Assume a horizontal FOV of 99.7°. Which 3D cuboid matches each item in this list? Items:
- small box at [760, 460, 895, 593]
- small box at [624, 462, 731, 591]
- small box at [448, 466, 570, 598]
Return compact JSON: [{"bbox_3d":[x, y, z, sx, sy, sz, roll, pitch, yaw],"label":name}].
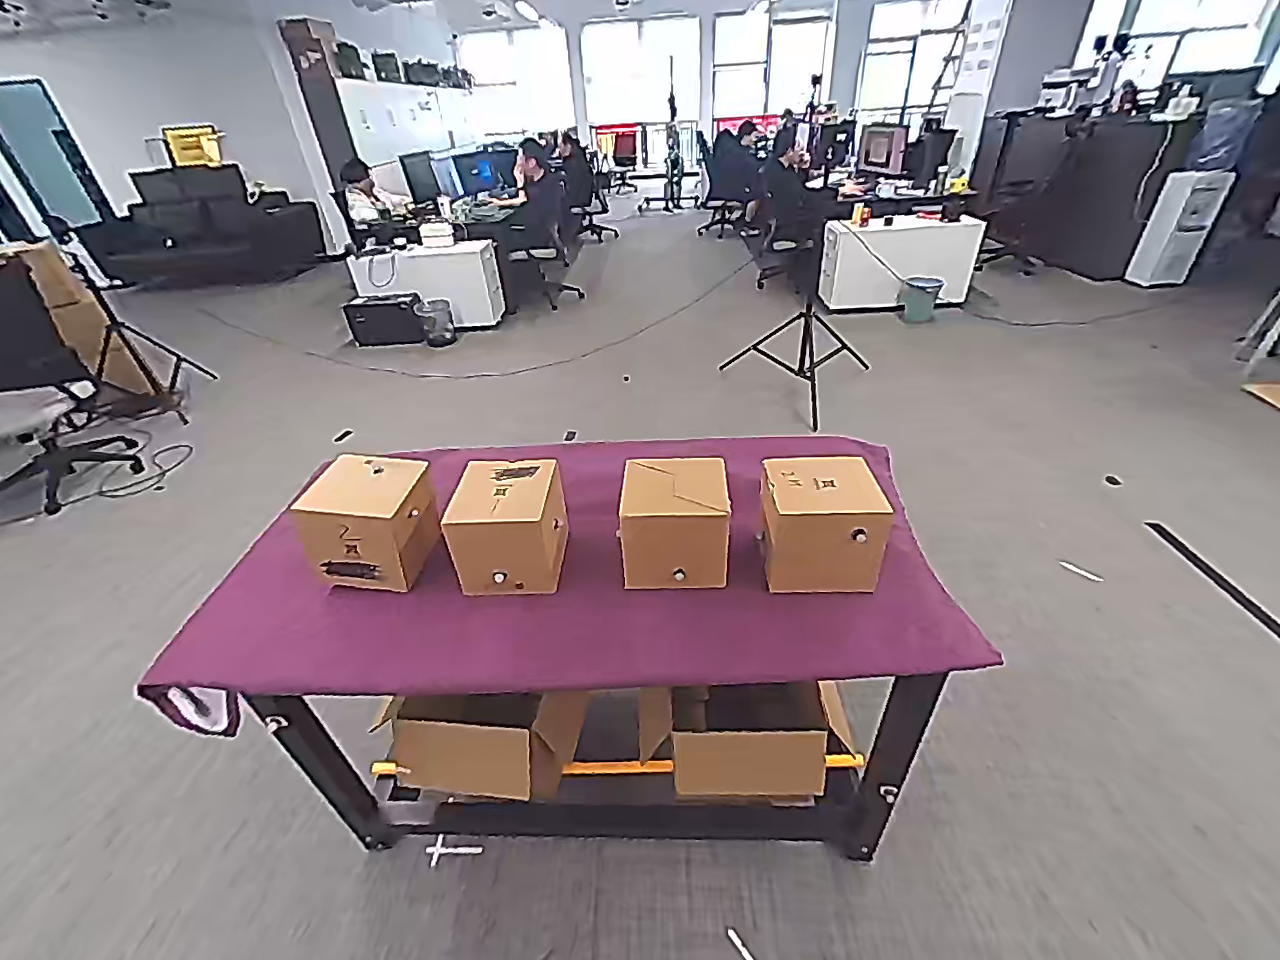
[{"bbox_3d":[0.309,0.080,0.933,0.179,0.176,0.168,-1,32,4],"label":"small box"},{"bbox_3d":[0.065,0.079,0.959,0.179,0.176,0.168,-2,33,5],"label":"small box"},{"bbox_3d":[-0.223,0.091,0.977,0.168,0.176,0.179,-2,35,3],"label":"small box"}]
